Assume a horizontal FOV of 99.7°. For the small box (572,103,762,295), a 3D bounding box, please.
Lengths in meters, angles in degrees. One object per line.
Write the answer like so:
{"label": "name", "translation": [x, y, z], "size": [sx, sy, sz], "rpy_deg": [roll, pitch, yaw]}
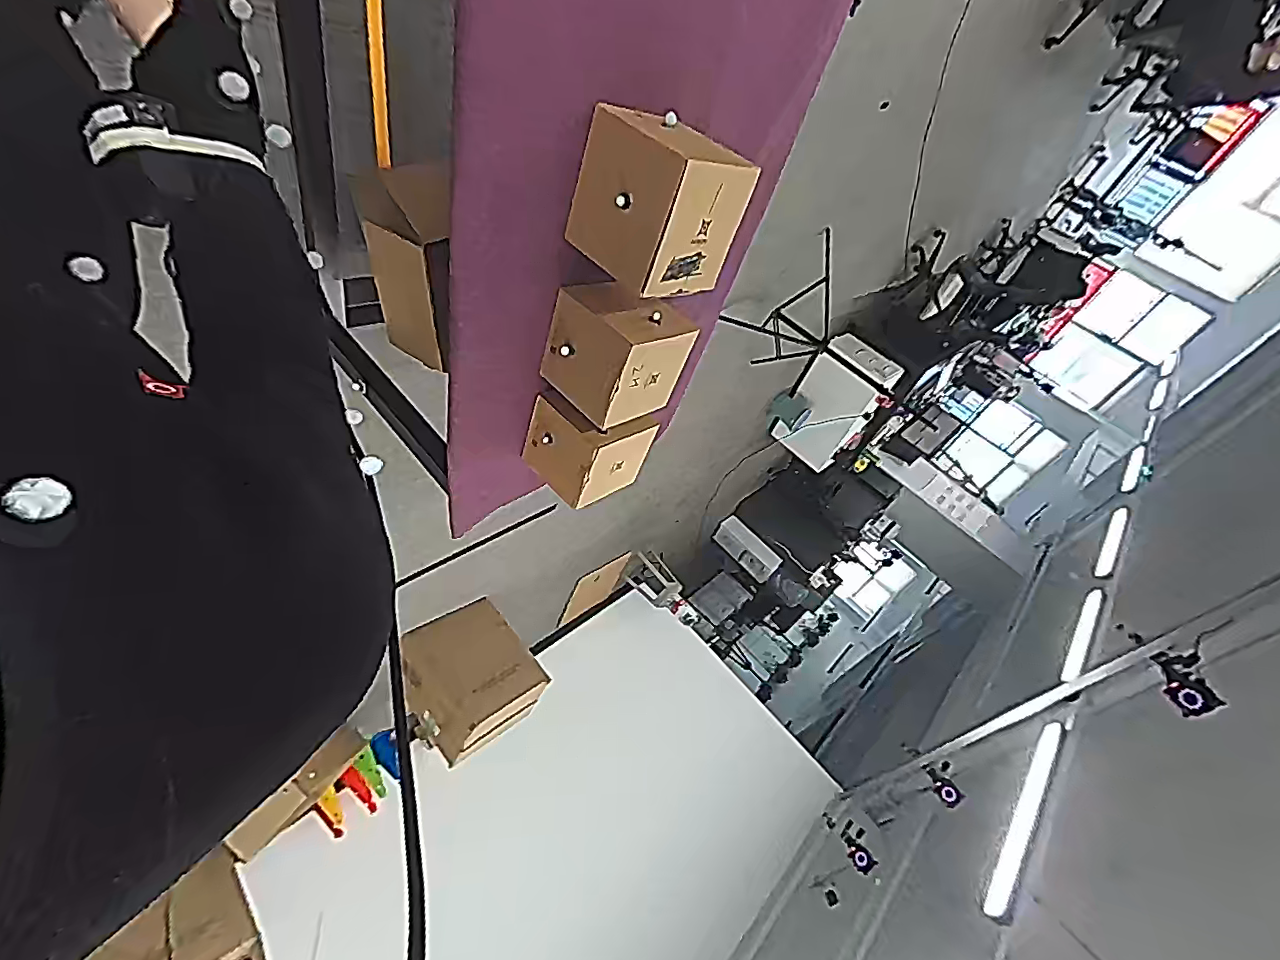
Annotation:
{"label": "small box", "translation": [0.028, -0.382, 0.750], "size": [0.168, 0.176, 0.179], "rpy_deg": [-25, 150, -42]}

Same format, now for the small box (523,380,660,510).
{"label": "small box", "translation": [-0.099, -0.077, 1.063], "size": [0.179, 0.176, 0.168], "rpy_deg": [-26, 151, -43]}
